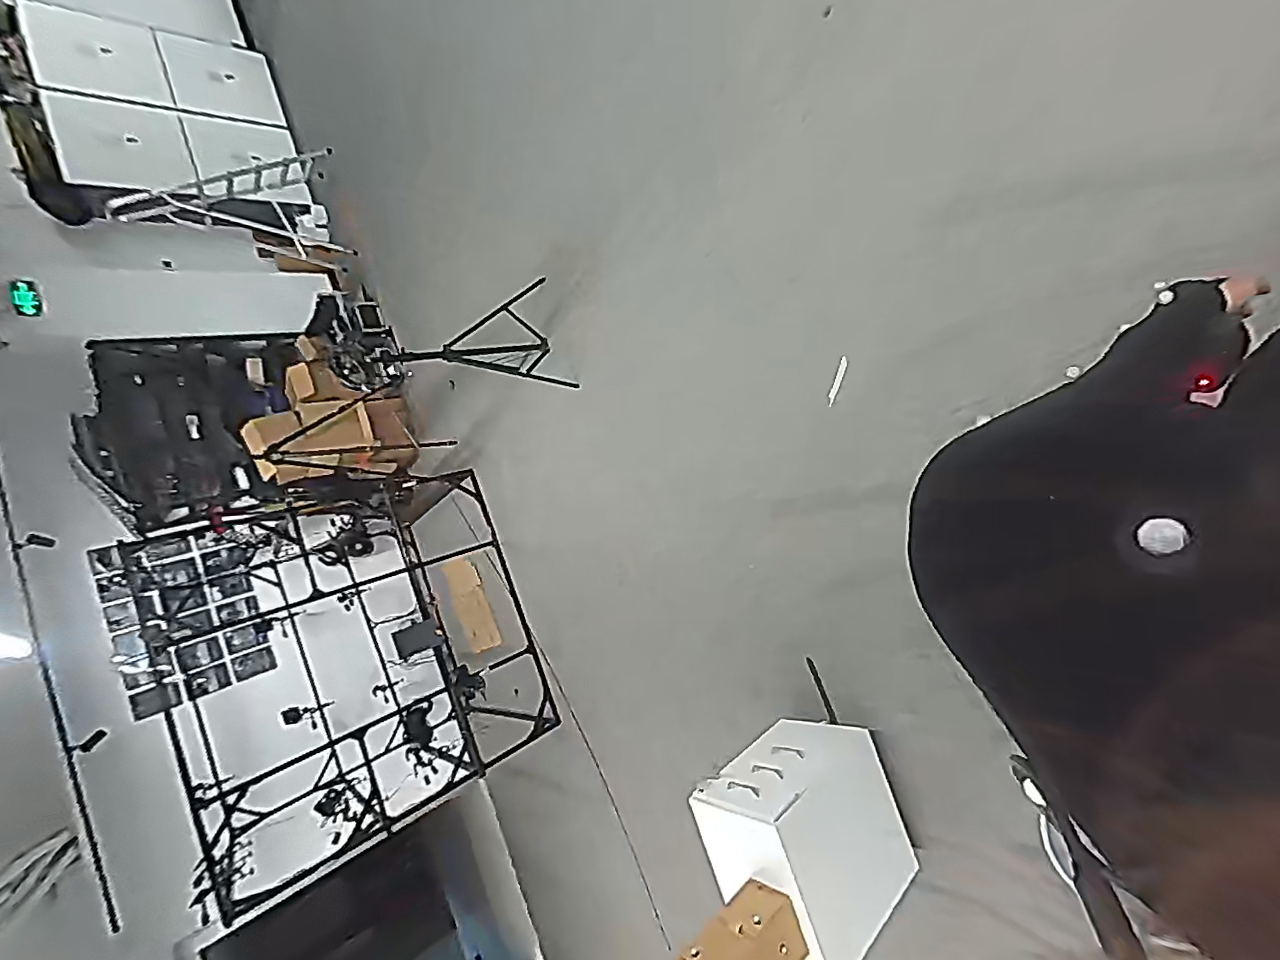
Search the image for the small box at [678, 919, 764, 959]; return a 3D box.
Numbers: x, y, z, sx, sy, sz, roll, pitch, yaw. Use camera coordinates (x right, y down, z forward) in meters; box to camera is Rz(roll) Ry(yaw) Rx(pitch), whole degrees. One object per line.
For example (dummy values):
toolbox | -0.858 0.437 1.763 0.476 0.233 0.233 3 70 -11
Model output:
small box | 0.239 1.382 1.505 0.179 0.176 0.168 -20 88 52
